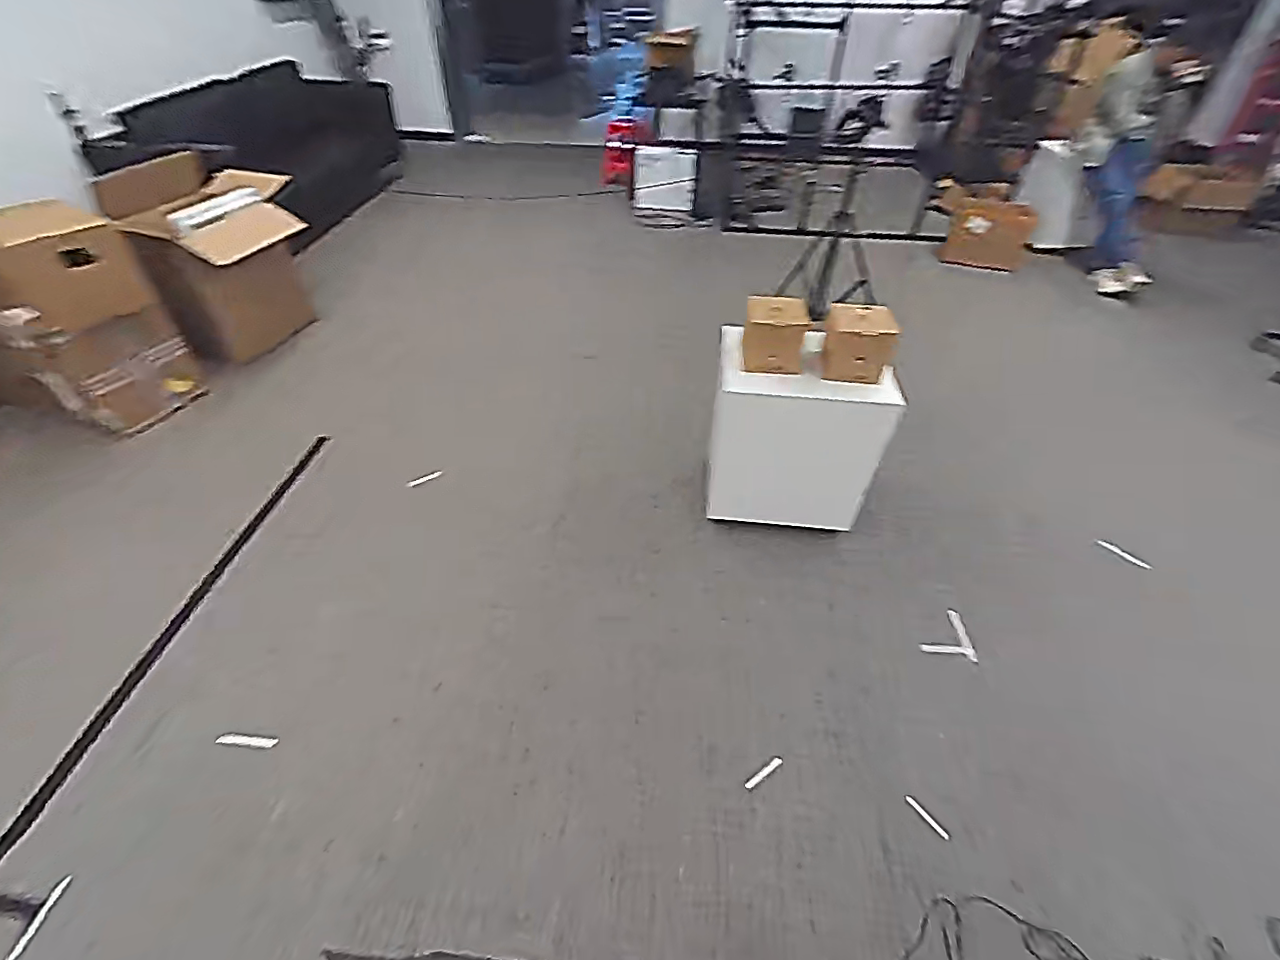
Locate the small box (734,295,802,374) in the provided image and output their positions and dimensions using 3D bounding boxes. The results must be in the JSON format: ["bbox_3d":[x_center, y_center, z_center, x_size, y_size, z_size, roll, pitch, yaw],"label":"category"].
[{"bbox_3d":[0.387,-0.448,1.661,0.168,0.176,0.179,3,44,2],"label":"small box"}]

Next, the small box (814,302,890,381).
[{"bbox_3d":[0.633,-0.416,1.633,0.168,0.176,0.179,6,45,4],"label":"small box"}]
